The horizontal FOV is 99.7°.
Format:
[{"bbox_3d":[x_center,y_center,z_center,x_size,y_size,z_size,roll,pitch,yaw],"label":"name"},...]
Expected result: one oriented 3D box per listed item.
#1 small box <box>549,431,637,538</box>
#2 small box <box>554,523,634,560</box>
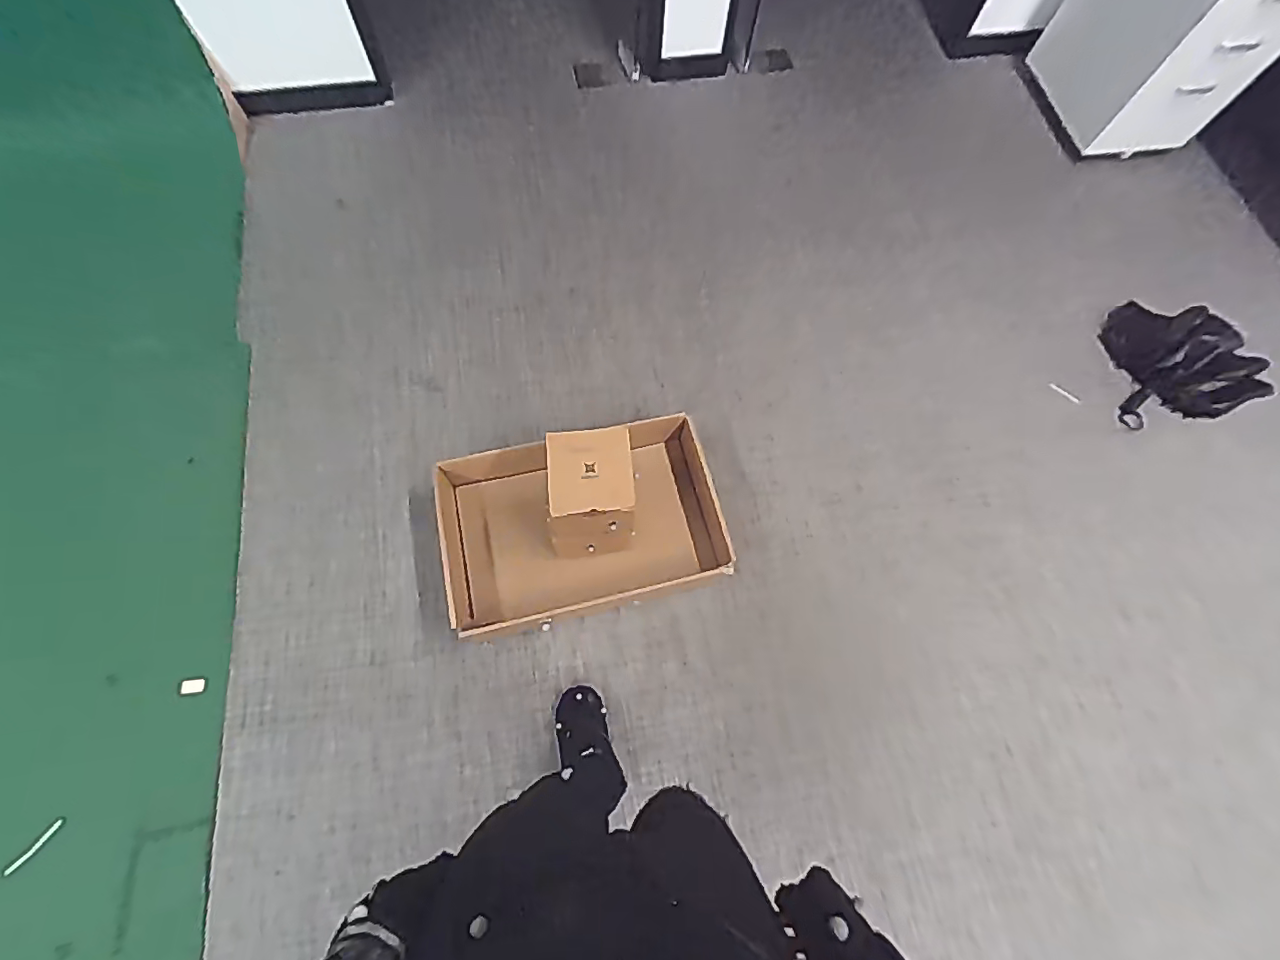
[{"bbox_3d":[-0.095,0.016,1.124,0.168,0.176,0.179,-4,68,-5],"label":"small box"},{"bbox_3d":[-0.109,0.085,1.287,0.179,0.176,0.168,-7,69,-2],"label":"small box"}]
